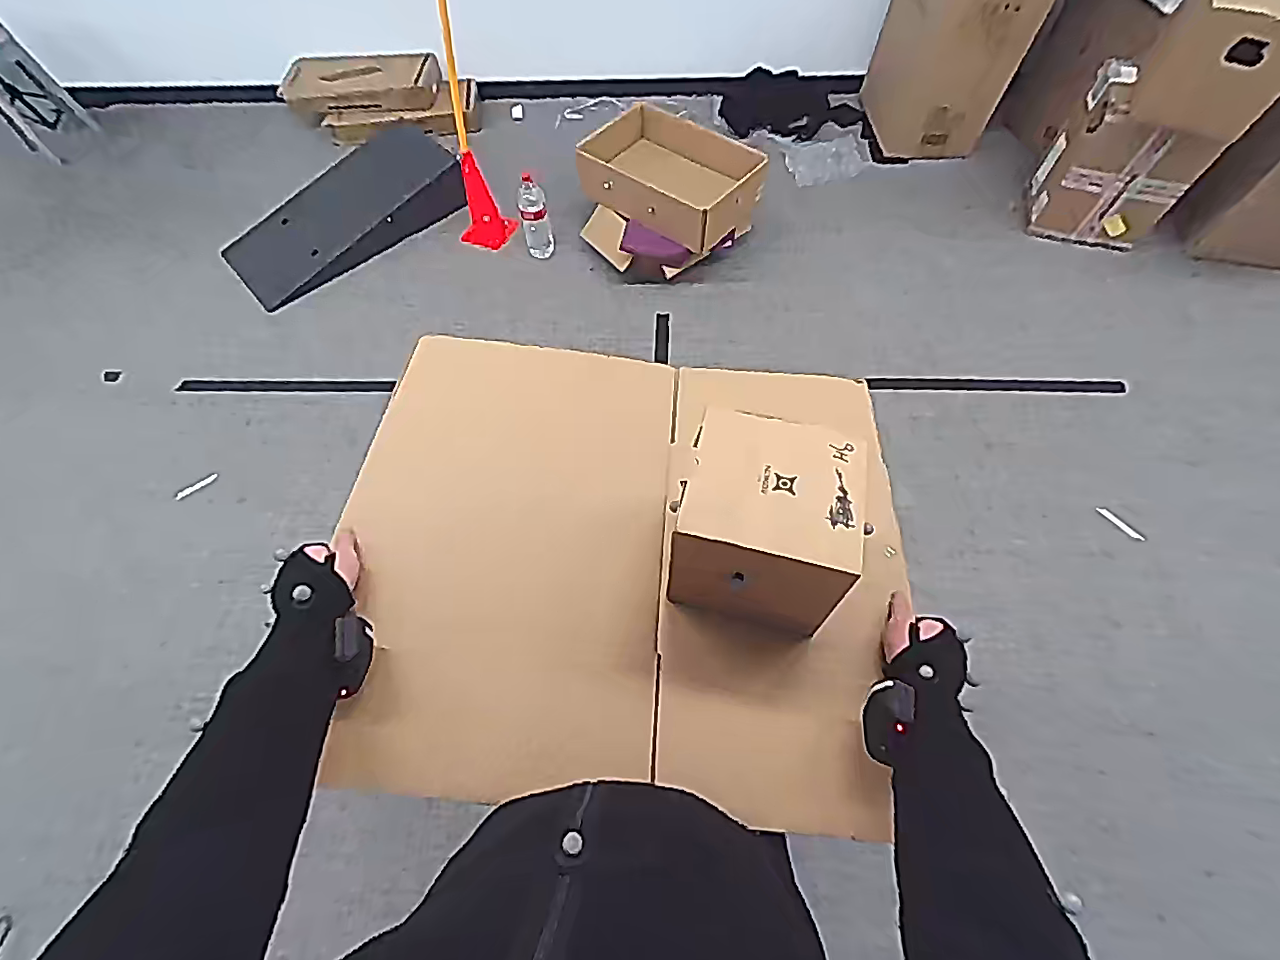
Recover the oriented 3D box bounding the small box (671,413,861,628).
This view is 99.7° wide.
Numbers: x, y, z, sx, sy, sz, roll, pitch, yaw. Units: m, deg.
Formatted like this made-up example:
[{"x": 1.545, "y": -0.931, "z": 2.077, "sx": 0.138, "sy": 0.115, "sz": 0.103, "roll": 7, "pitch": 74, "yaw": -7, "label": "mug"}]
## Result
[{"x": 0.135, "y": 0.051, "z": 0.615, "sx": 0.179, "sy": 0.176, "sz": 0.168, "roll": 12, "pitch": 57, "yaw": 9, "label": "small box"}]
